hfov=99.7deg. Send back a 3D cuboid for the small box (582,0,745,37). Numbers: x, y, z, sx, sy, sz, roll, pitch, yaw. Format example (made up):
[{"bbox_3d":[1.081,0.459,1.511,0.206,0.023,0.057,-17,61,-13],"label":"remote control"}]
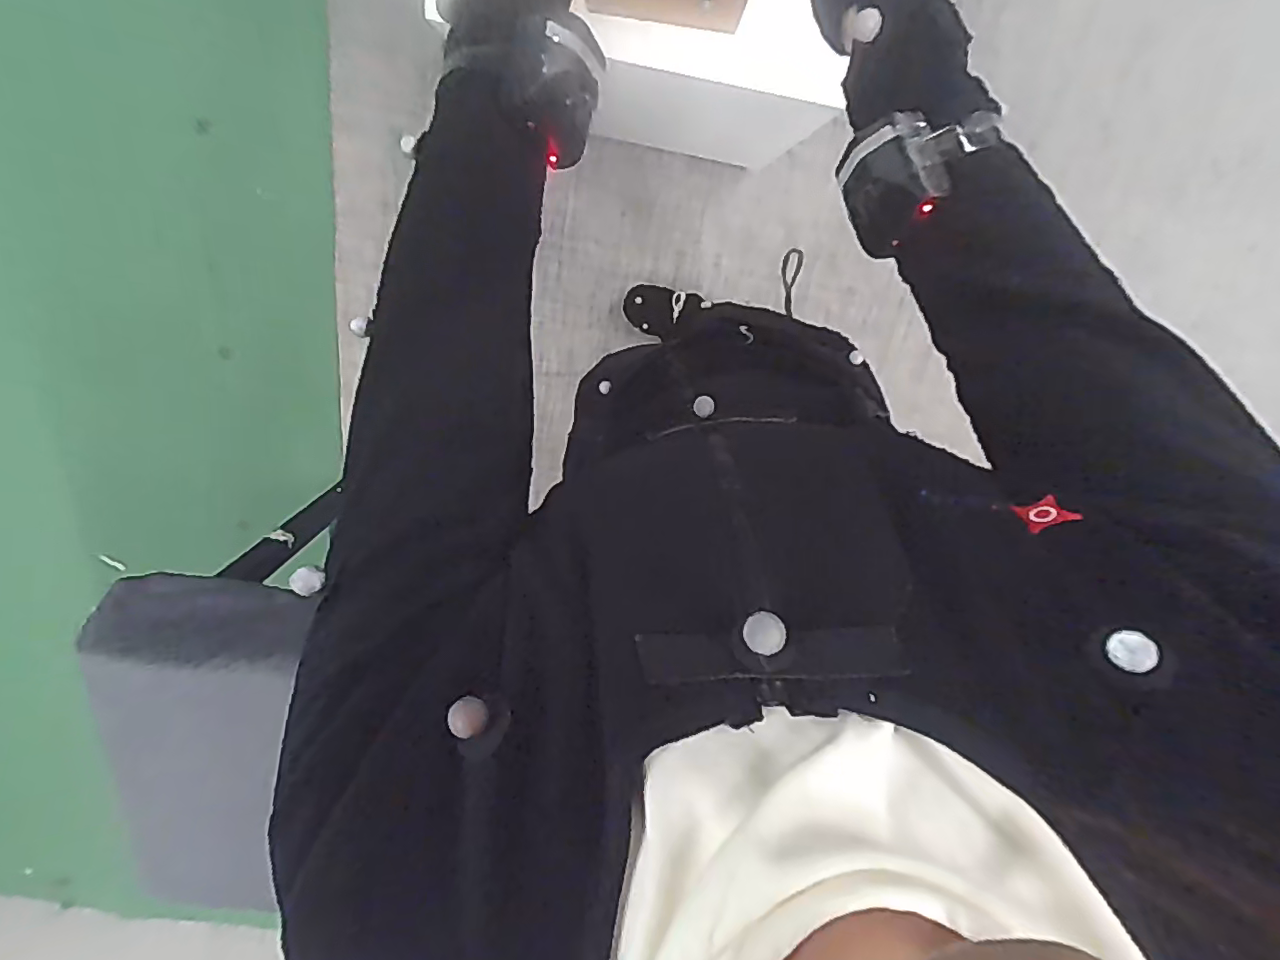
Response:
[{"bbox_3d":[0.031,-0.559,0.515,0.179,0.176,0.168,7,112,0],"label":"small box"}]
